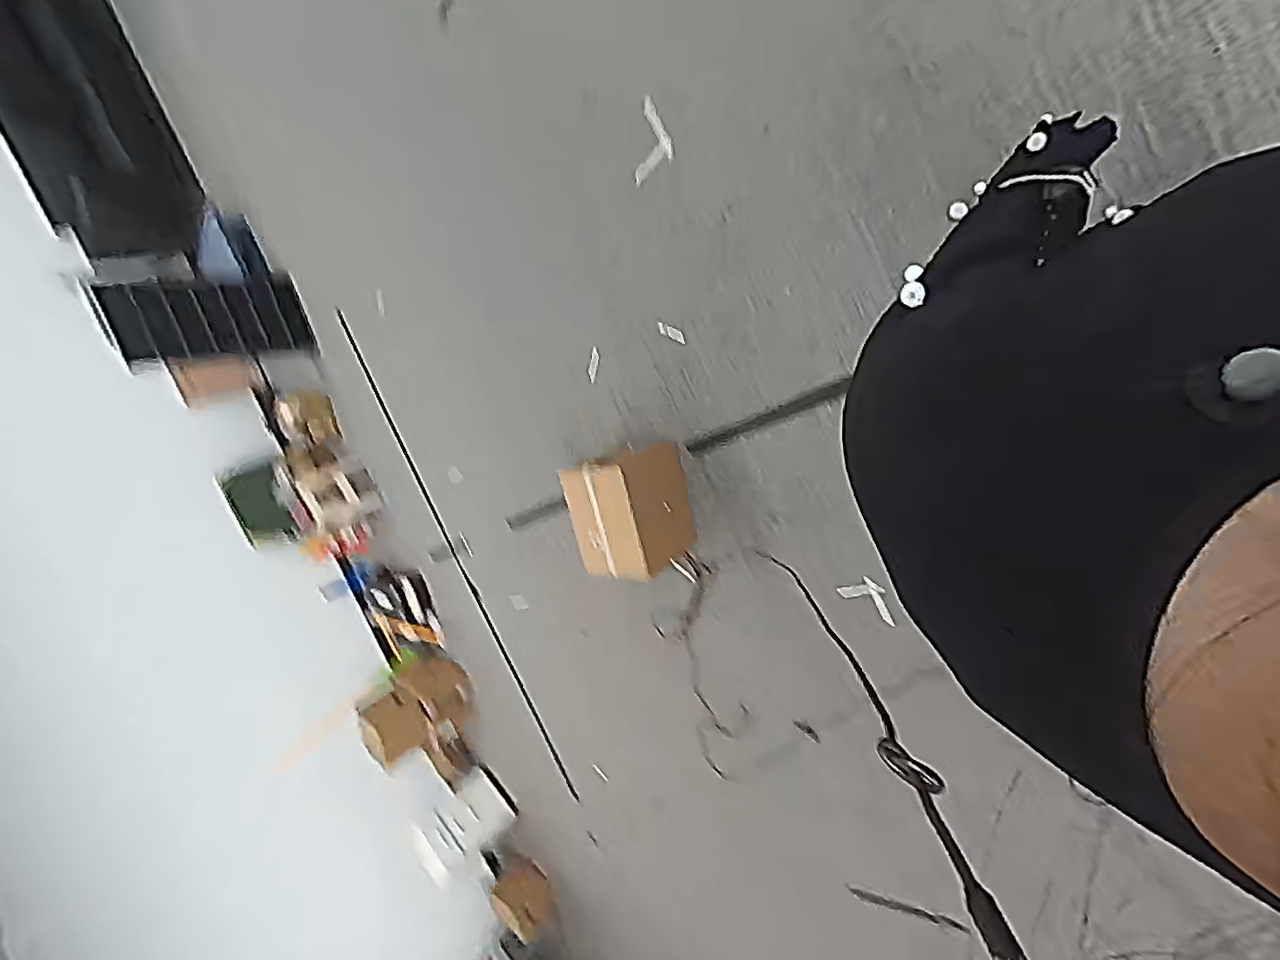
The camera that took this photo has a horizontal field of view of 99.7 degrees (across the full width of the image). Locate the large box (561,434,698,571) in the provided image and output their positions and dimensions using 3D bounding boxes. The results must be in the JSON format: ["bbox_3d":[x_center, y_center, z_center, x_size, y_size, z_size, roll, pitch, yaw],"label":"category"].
[{"bbox_3d":[-0.030,0.076,1.973,0.320,0.320,0.408,-2,108,42],"label":"large box"}]
